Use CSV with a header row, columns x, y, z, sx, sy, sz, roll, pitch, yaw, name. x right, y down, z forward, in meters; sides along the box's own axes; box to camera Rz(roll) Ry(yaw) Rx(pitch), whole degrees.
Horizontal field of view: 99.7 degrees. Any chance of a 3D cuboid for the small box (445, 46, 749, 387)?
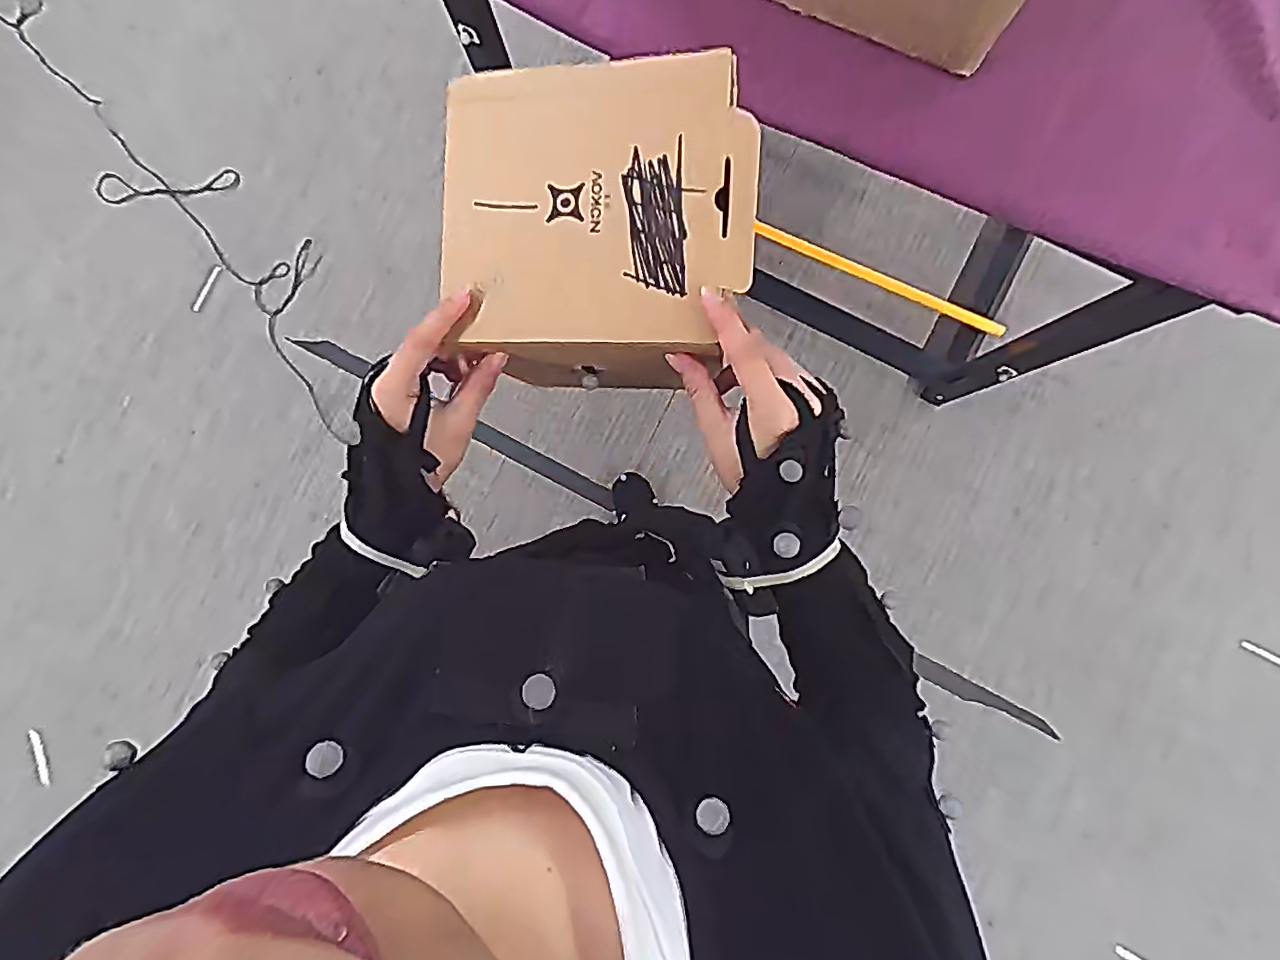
x,y,z,sx,sy,sz,roll,pitch,yaw,name
-0.017,-0.164,0.392,0.179,0.176,0.168,3,91,10,small box
